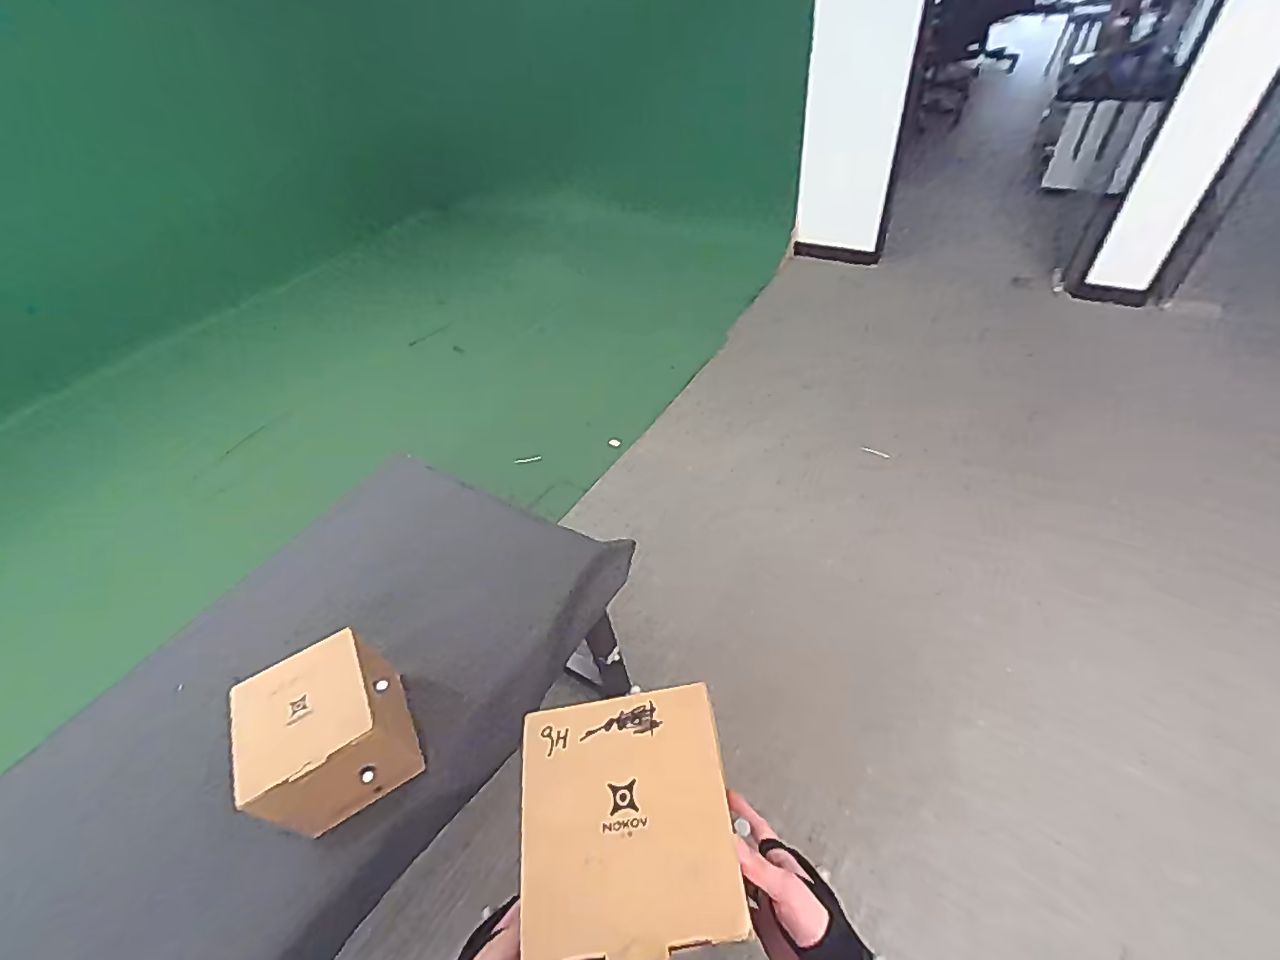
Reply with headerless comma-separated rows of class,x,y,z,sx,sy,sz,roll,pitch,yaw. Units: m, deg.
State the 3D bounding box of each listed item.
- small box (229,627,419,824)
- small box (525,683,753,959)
small box,-0.439,0.351,0.765,0.168,0.176,0.179,-28,48,-18
small box,0.001,0.305,0.486,0.168,0.176,0.179,-10,51,1
